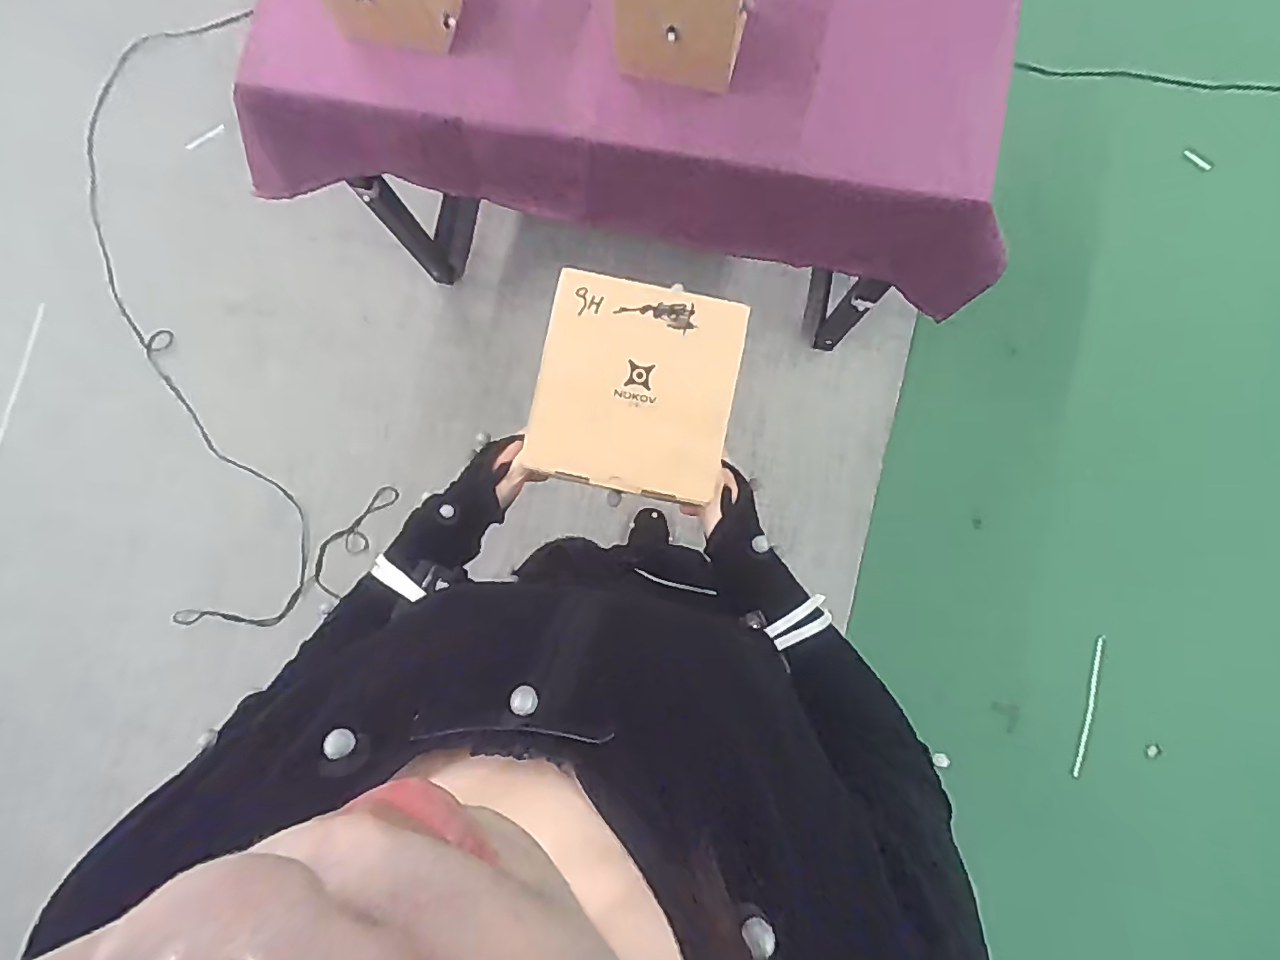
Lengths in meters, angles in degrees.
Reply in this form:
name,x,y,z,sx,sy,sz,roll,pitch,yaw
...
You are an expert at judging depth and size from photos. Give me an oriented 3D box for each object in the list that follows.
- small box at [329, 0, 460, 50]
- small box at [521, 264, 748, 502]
name,x,y,z,sx,sy,sz,roll,pitch,yaw
small box,-0.370,-0.784,0.793,0.179,0.176,0.168,13,85,3
small box,-0.005,-0.081,0.536,0.168,0.176,0.179,12,88,-1
